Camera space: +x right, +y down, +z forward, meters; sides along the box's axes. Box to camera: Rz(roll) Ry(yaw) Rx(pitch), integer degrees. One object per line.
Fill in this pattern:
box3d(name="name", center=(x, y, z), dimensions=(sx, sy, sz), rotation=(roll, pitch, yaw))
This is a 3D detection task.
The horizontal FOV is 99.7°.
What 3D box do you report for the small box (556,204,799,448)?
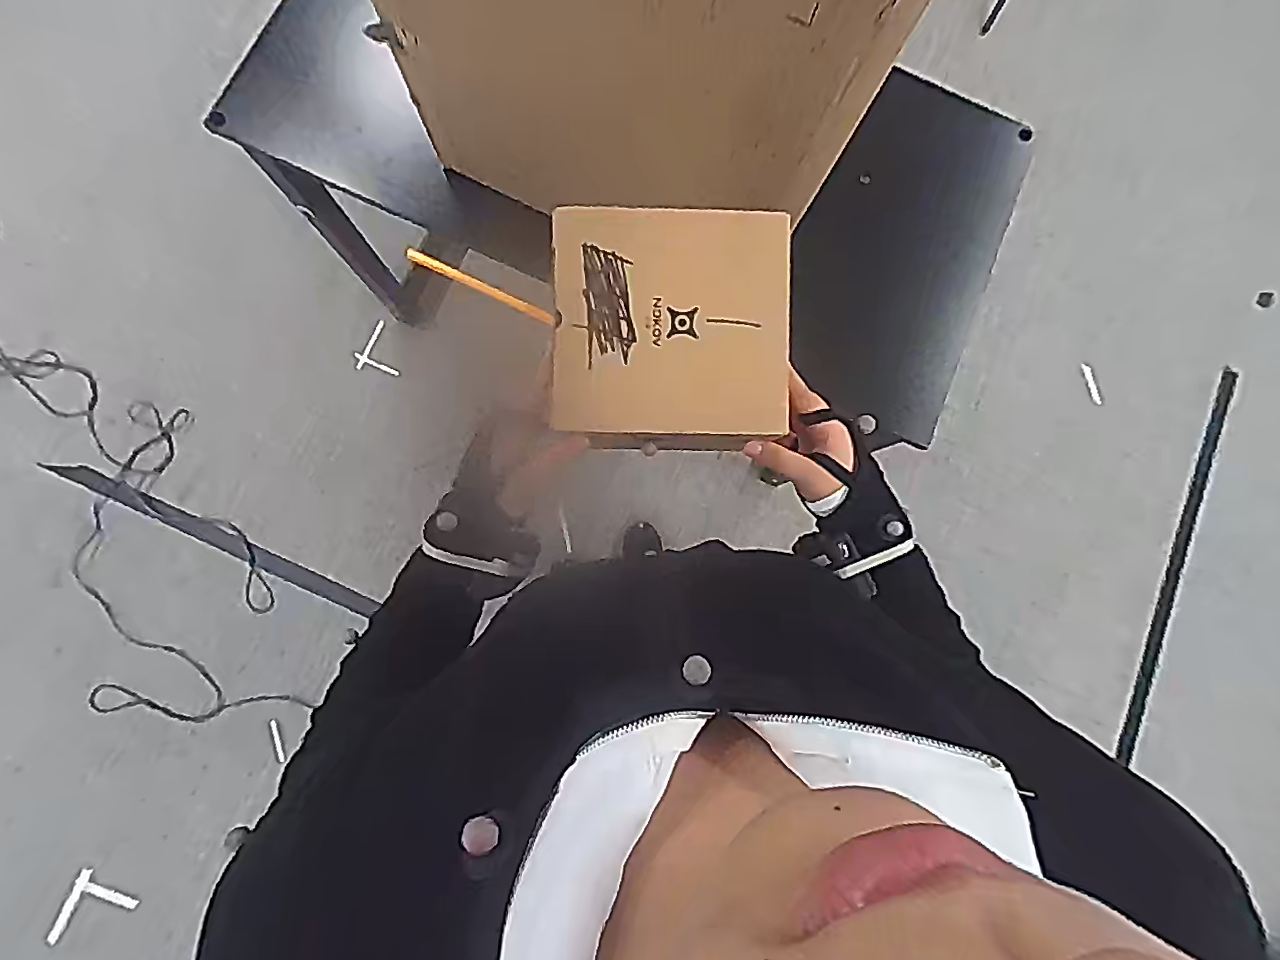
box3d(name="small box", center=(0.027, -0.116, 0.473), dimensions=(0.179, 0.176, 0.168), rotation=(1, 90, -2))
